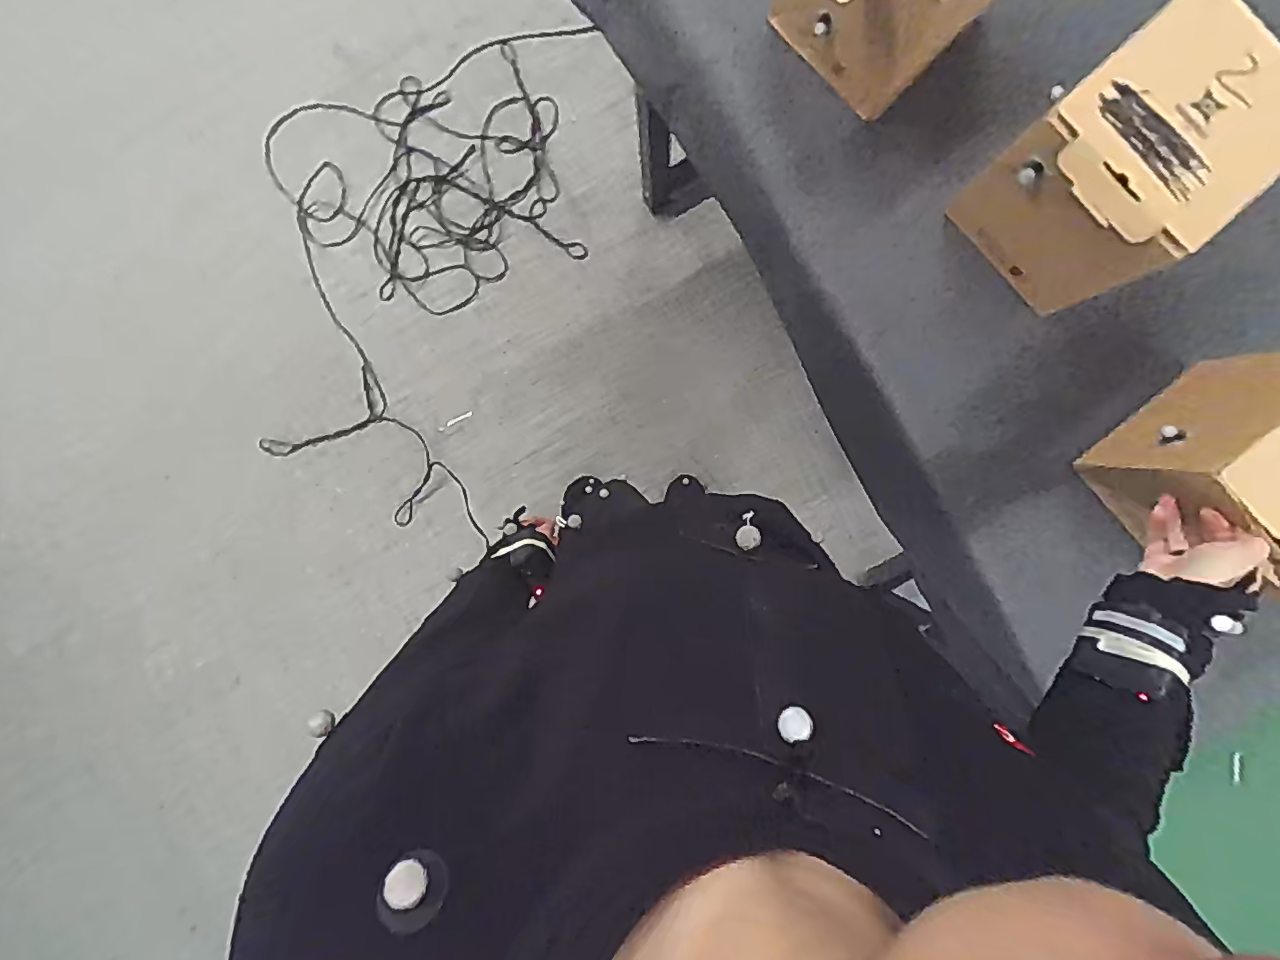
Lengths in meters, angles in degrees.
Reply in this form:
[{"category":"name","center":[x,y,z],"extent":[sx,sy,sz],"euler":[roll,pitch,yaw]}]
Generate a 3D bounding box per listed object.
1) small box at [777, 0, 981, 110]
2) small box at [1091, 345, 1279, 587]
[{"category":"small box","center":[0.259,-0.522,0.522],"extent":[0.179,0.176,0.168],"euler":[-44,90,3]},{"category":"small box","center":[0.592,-0.012,0.517],"extent":[0.179,0.176,0.168],"euler":[-43,92,5]}]
